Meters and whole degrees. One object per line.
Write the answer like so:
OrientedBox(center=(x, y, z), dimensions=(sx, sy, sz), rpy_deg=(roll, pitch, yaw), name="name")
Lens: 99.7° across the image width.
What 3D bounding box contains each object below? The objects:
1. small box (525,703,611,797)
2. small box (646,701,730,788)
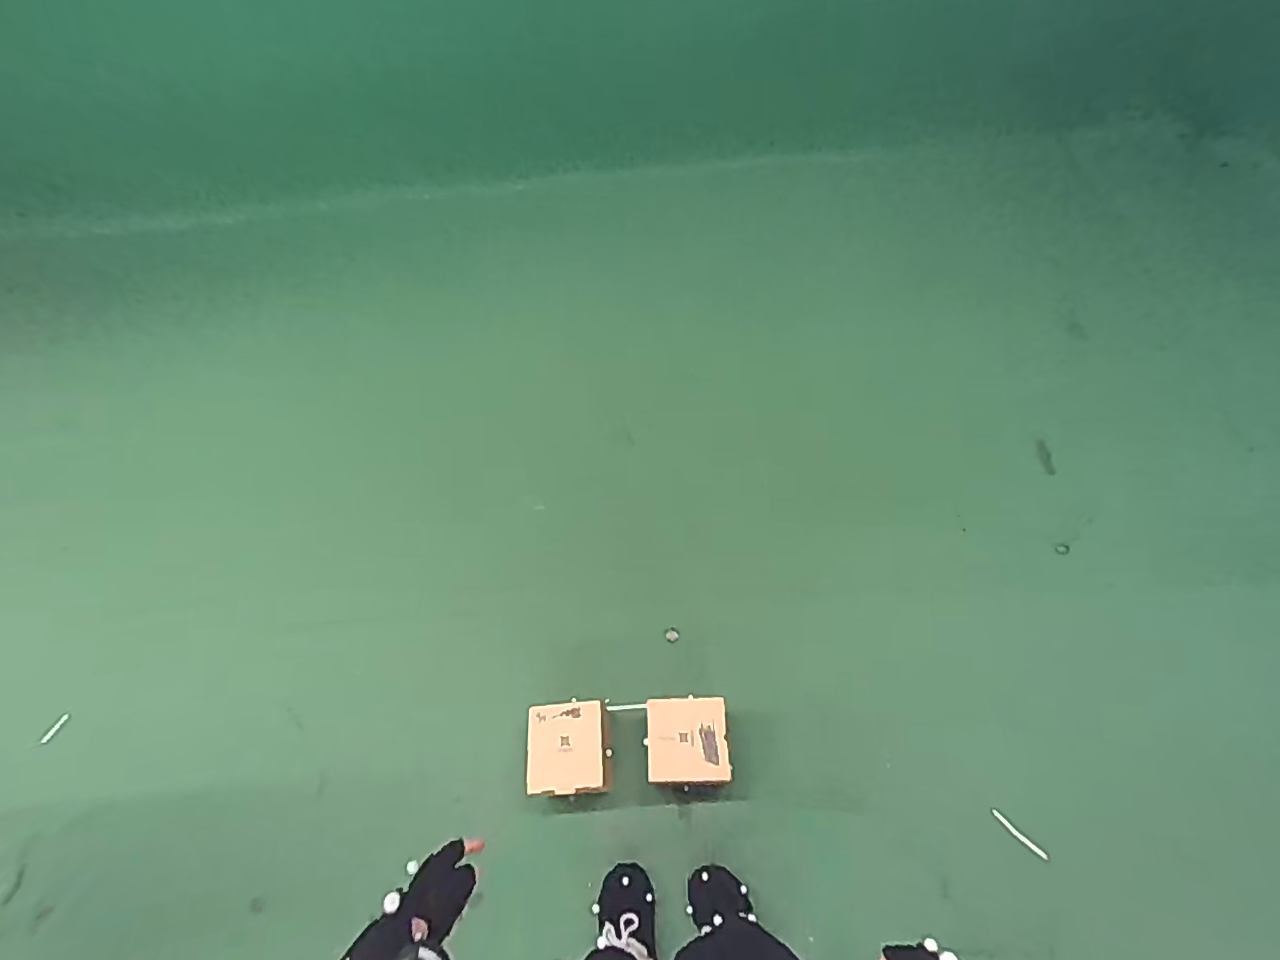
OrientedBox(center=(-0.161, 0.622, 1.244), dimensions=(0.168, 0.176, 0.179), rpy_deg=(-6, 59, 2), name="small box")
OrientedBox(center=(0.105, 0.603, 1.231), dimensions=(0.179, 0.176, 0.168), rpy_deg=(-3, 58, 4), name="small box")
